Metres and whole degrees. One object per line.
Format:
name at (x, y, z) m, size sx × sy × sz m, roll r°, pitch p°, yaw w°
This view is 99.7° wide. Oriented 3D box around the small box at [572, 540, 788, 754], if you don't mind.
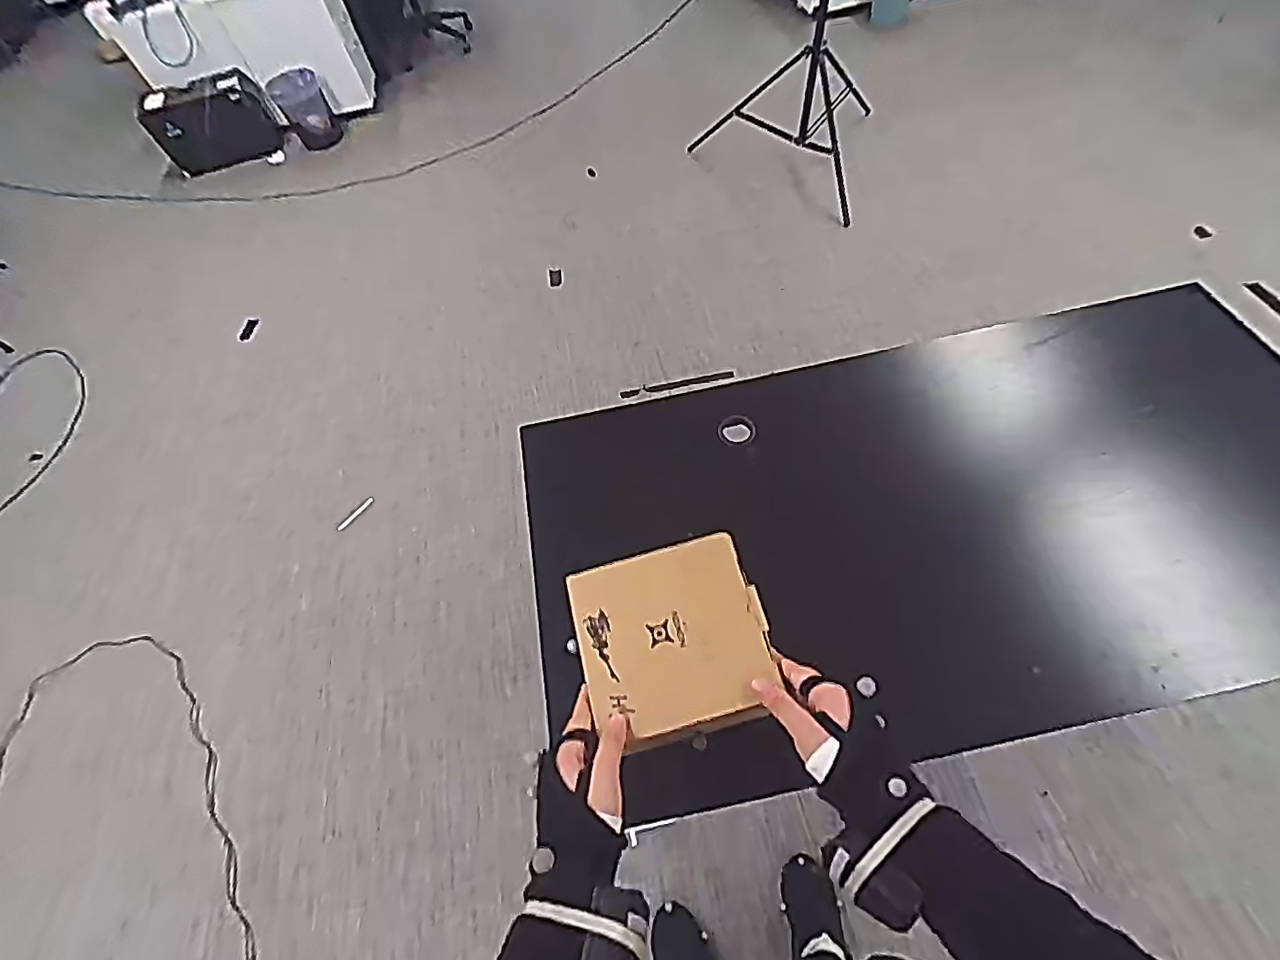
small box at (0.037, 0.187, 0.587) m, size 0.179 × 0.176 × 0.168 m, roll -15°, pitch 61°, yaw -2°
